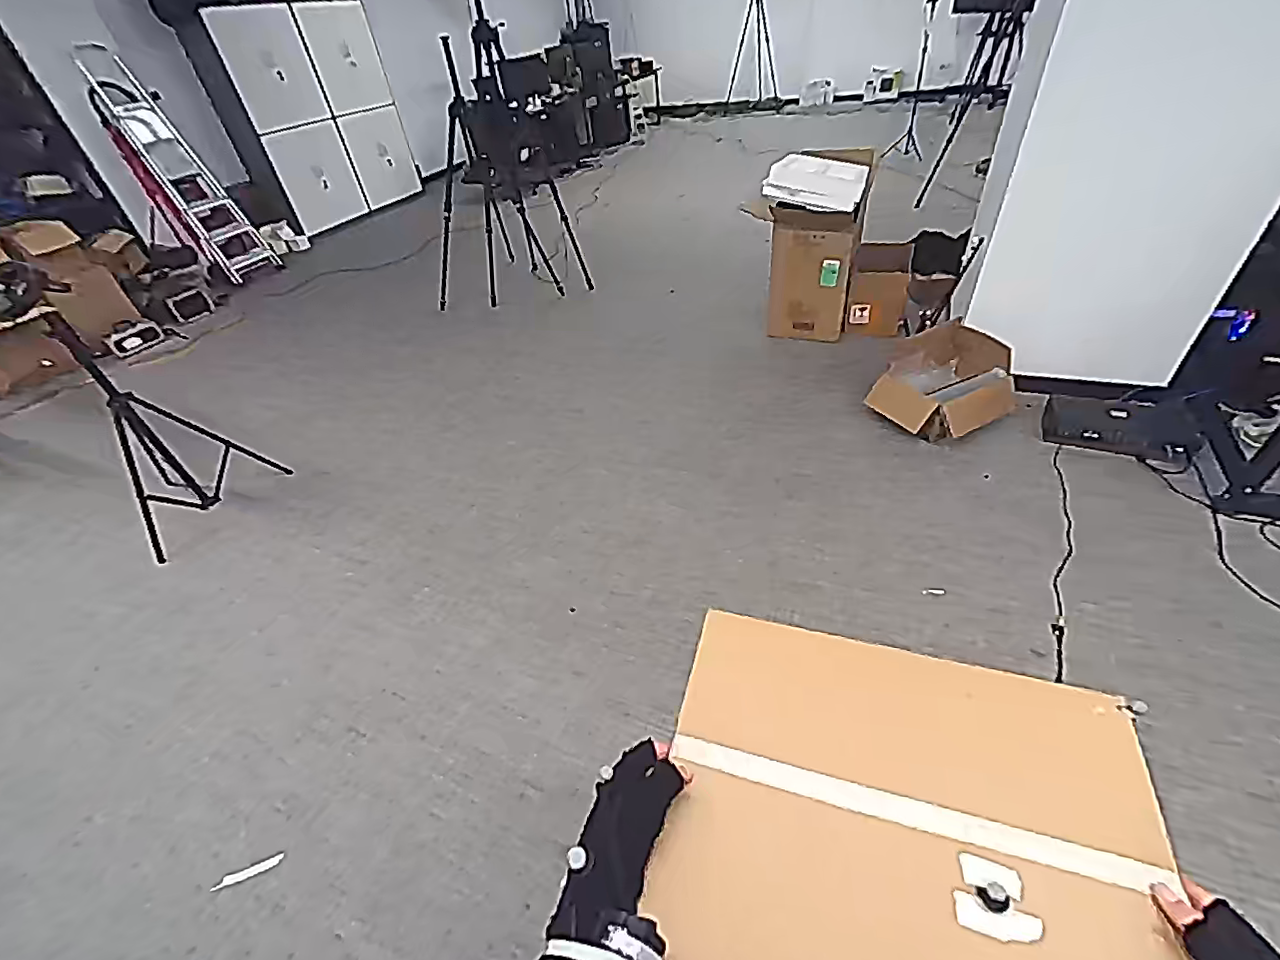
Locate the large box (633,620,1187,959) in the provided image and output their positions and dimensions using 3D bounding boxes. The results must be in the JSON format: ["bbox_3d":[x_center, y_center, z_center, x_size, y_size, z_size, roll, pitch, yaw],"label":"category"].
[{"bbox_3d":[0.235,0.398,0.579,0.408,0.320,0.320,9,47,16],"label":"large box"}]
